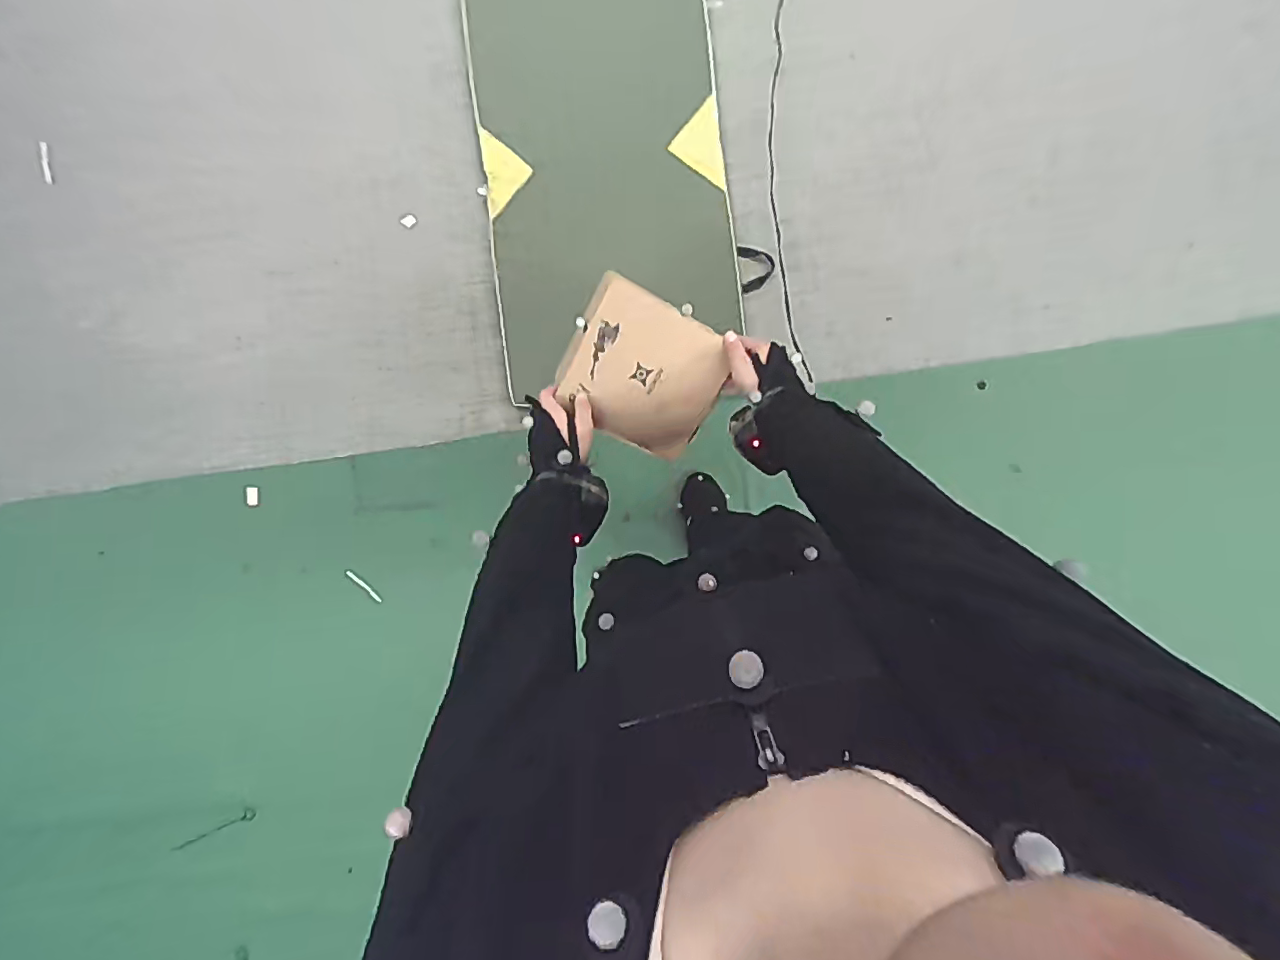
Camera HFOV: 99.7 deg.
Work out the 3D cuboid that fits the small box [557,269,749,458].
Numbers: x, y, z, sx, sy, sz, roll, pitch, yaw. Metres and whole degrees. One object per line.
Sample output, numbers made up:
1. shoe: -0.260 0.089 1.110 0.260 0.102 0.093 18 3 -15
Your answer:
1. small box: 0.008 -0.160 0.704 0.179 0.176 0.168 26 108 -16
